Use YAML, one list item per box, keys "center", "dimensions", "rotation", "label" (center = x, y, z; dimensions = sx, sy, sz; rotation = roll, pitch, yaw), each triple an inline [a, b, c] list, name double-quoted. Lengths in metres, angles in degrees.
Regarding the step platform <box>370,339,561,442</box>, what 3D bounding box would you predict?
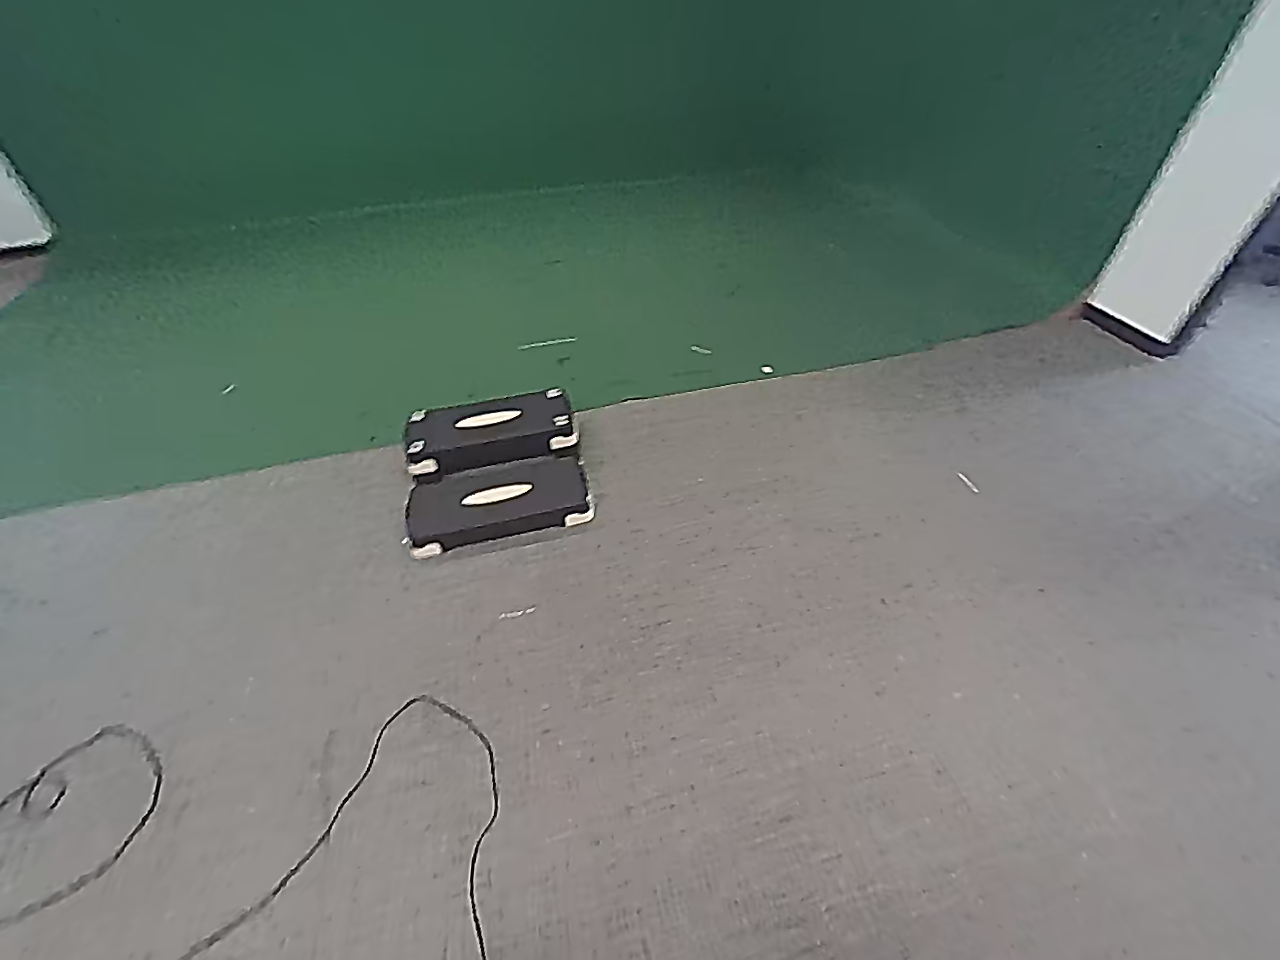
- center: [-0.652, -0.352, 2.094]
  dimensions: [0.684, 0.204, 0.286]
  rotation: [-12, 46, -8]
  label: "step platform"
